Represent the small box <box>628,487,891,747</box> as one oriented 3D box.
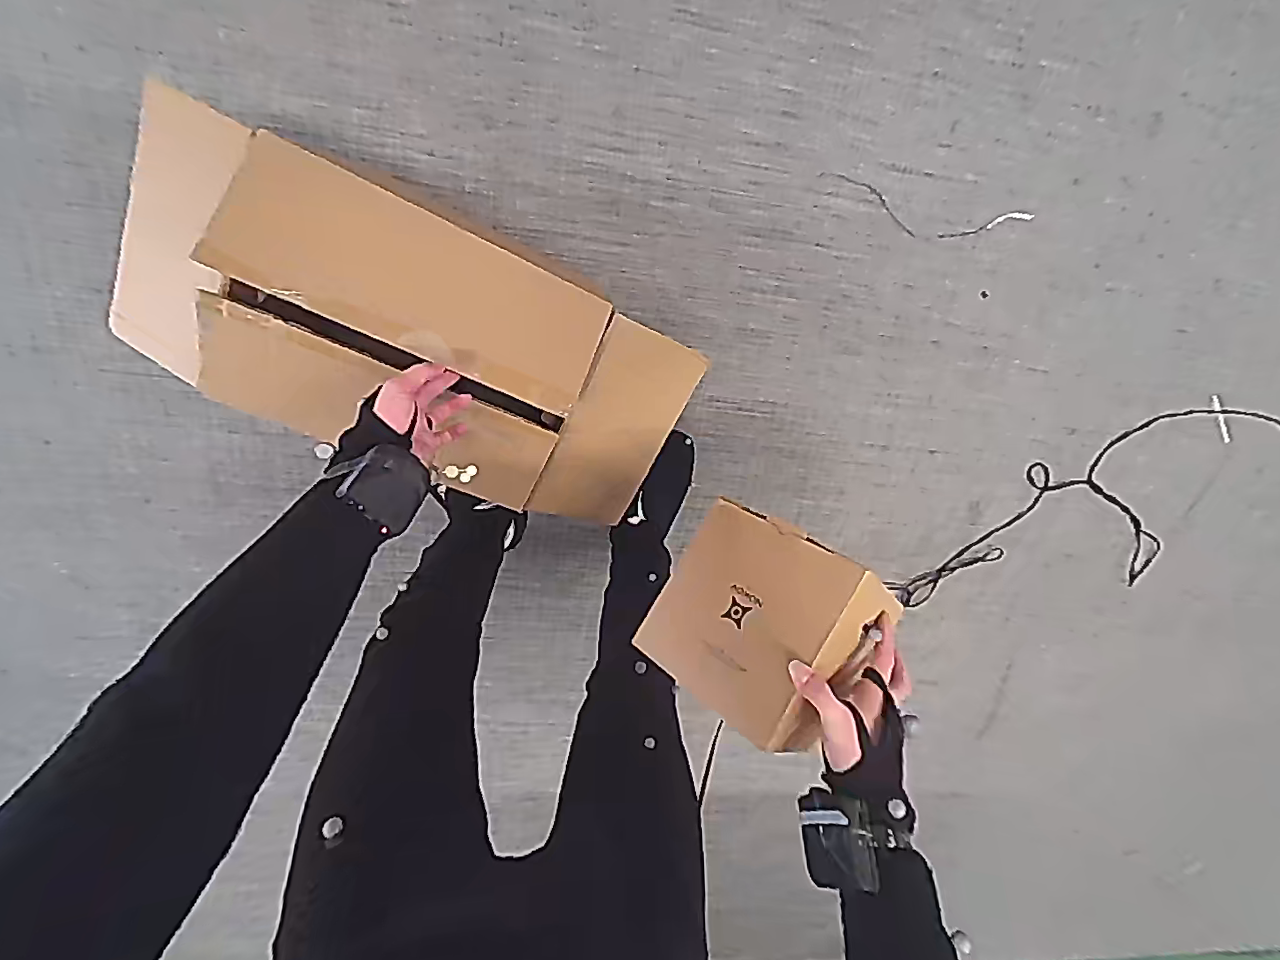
[{"bbox_3d":[0.127,0.139,0.543,0.176,0.168,0.179,34,87,-46],"label":"small box"}]
